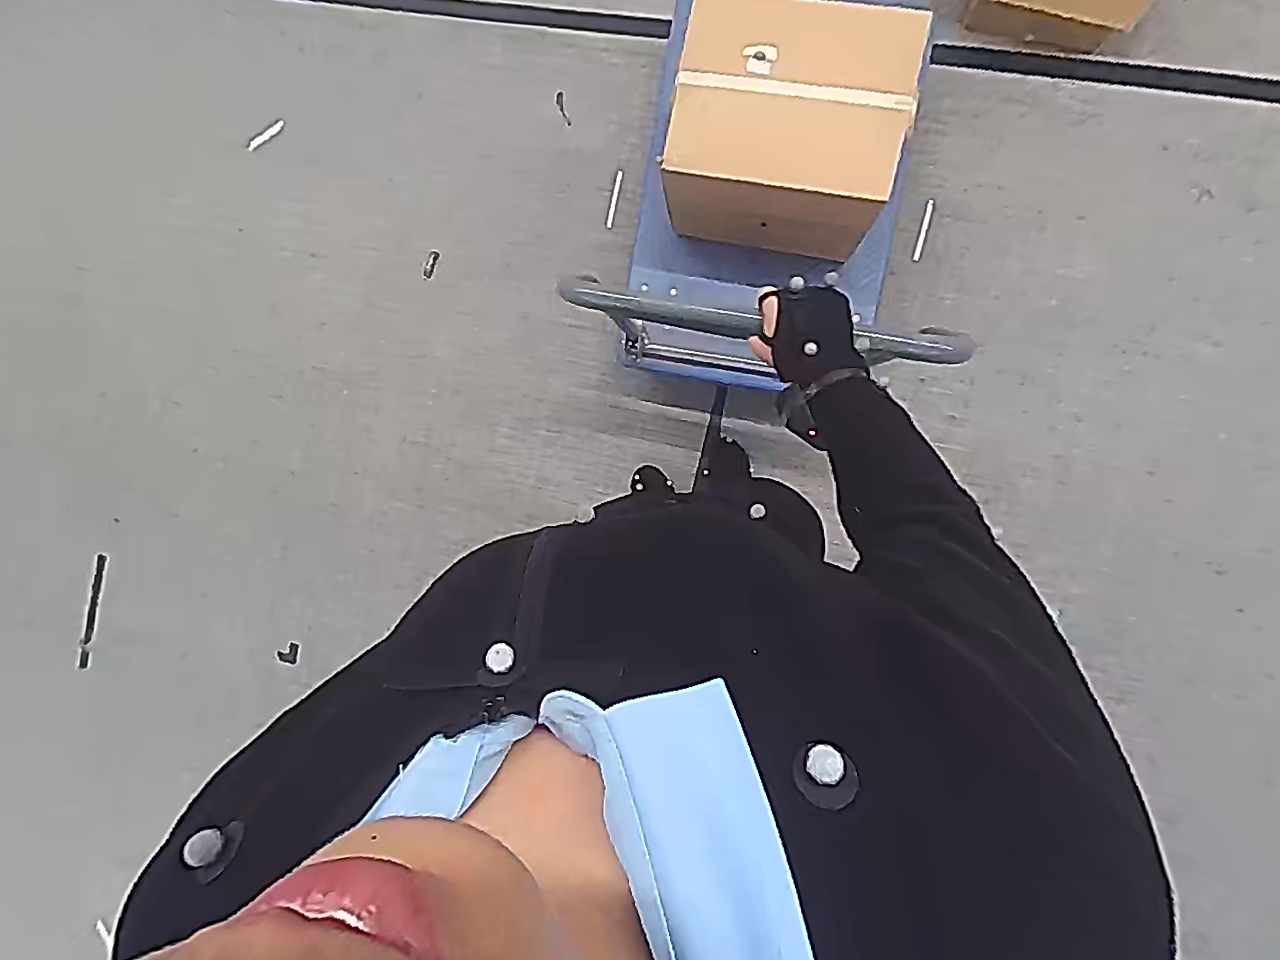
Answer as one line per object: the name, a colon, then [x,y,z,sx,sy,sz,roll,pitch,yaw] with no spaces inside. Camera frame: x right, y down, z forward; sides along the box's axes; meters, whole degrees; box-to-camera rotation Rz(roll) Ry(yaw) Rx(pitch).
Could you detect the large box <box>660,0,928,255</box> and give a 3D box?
large box: [0.280,-0.674,1.073,0.408,0.320,0.320,12,94,8]
